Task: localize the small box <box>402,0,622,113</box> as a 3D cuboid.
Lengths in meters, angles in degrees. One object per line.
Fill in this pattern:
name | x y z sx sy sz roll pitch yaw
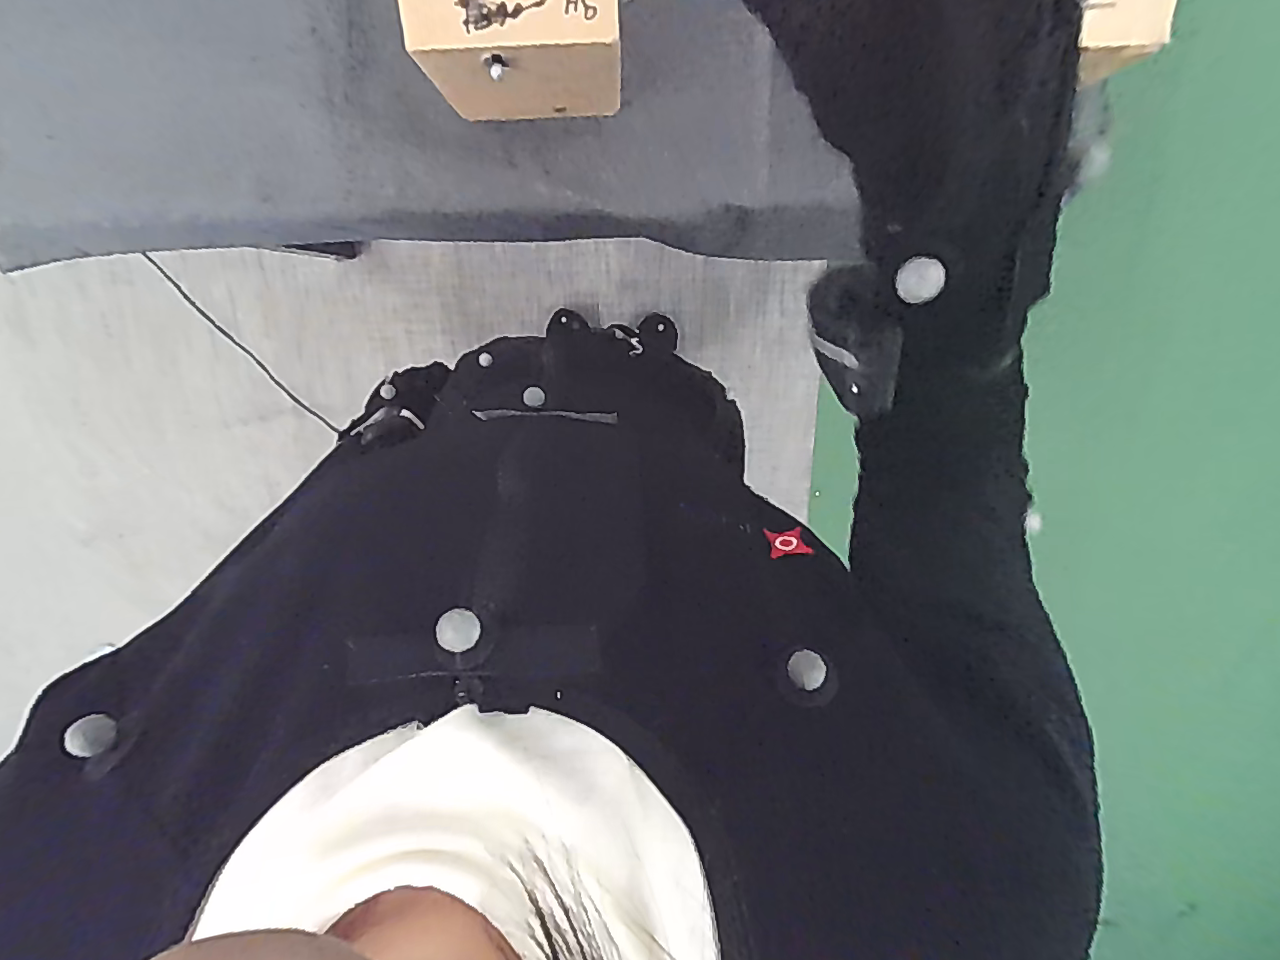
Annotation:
small box | -0.102 -0.446 0.464 0.168 0.176 0.179 -3 108 0
